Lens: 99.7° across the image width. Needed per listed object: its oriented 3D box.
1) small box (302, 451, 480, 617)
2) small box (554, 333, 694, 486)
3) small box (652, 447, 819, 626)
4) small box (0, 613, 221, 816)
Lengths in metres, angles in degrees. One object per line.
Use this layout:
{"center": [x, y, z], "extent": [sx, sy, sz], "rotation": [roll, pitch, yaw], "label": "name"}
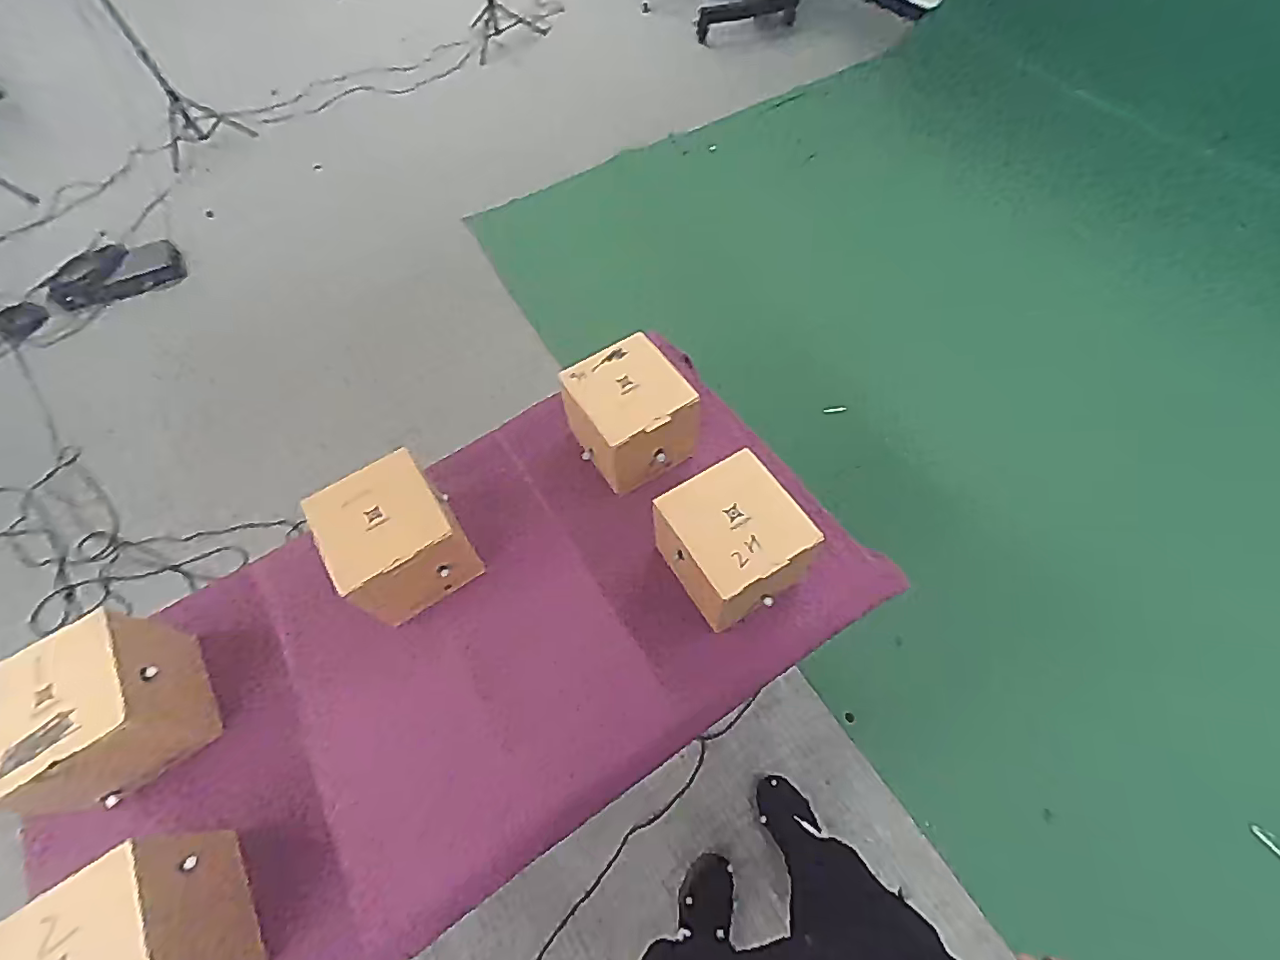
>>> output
{"center": [-0.373, 0.094, 0.839], "extent": [0.168, 0.176, 0.179], "rotation": [-32, 64, -15], "label": "small box"}
{"center": [-0.023, -0.110, 0.932], "extent": [0.168, 0.176, 0.179], "rotation": [-31, 65, -13], "label": "small box"}
{"center": [0.132, 0.089, 0.809], "extent": [0.168, 0.176, 0.179], "rotation": [-30, 63, -11], "label": "small box"}
{"center": [-0.719, 0.315, 0.731], "extent": [0.168, 0.176, 0.179], "rotation": [-33, 64, -15], "label": "small box"}
